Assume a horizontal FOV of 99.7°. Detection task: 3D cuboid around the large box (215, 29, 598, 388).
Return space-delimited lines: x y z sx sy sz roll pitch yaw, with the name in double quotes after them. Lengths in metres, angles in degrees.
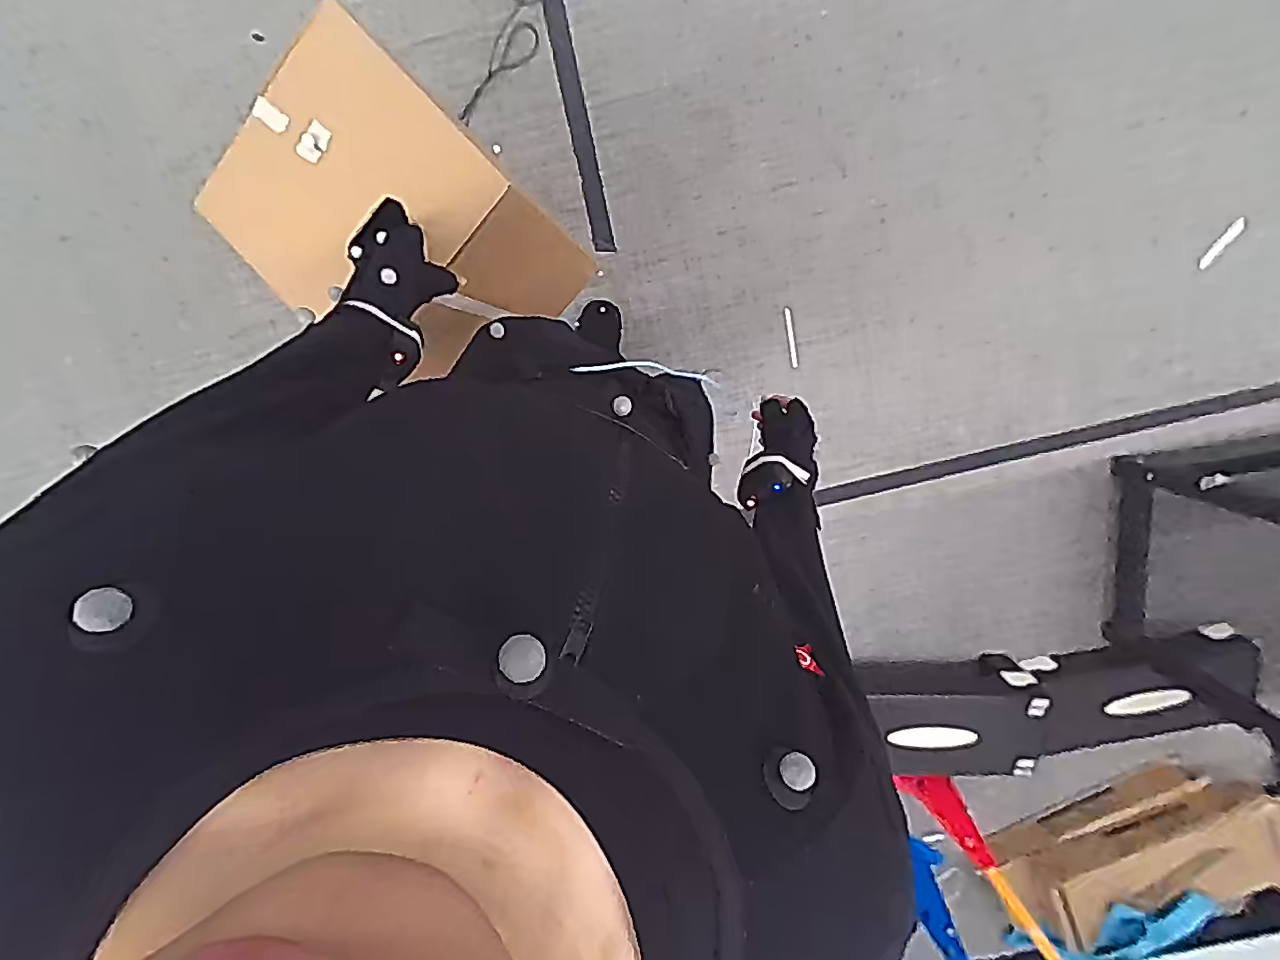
-0.324 -0.366 0.860 0.320 0.408 0.320 46 104 0 "large box"
